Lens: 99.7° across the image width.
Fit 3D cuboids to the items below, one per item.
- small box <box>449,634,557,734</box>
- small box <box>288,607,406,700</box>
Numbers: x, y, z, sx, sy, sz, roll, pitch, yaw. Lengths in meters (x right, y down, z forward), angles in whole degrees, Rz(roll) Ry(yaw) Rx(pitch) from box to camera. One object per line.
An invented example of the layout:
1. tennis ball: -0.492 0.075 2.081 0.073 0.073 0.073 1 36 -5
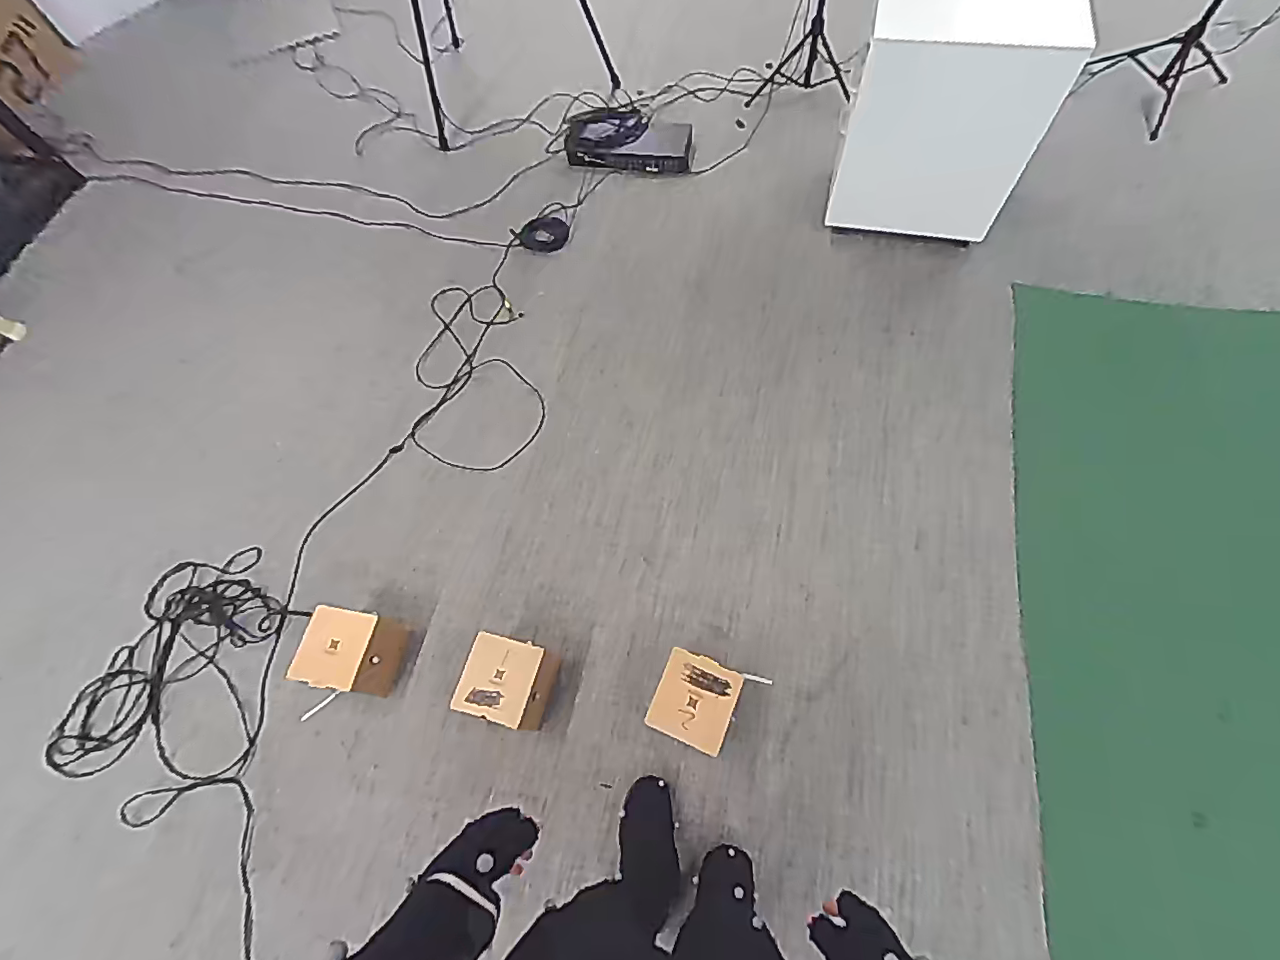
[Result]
1. small box: -0.309 0.481 1.265 0.168 0.176 0.179 13 65 11
2. small box: -0.704 0.430 1.327 0.168 0.176 0.179 8 66 9
